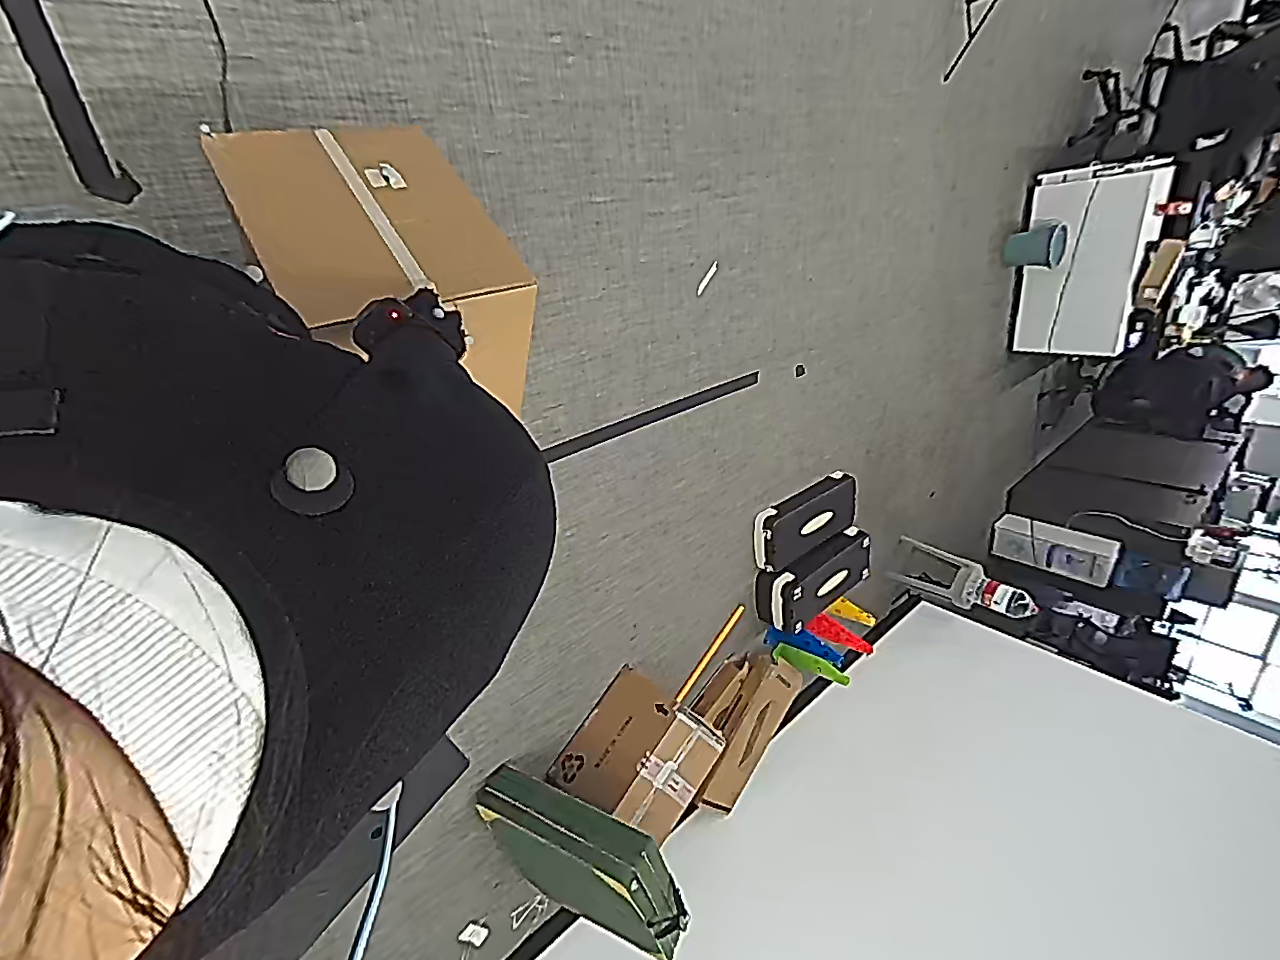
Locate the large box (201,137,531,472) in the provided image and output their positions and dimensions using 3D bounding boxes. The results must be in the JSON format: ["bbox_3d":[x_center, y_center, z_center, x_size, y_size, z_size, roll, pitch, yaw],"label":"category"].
[{"bbox_3d":[-0.424,-0.291,0.891,0.320,0.408,0.320,-25,157,-31],"label":"large box"}]
